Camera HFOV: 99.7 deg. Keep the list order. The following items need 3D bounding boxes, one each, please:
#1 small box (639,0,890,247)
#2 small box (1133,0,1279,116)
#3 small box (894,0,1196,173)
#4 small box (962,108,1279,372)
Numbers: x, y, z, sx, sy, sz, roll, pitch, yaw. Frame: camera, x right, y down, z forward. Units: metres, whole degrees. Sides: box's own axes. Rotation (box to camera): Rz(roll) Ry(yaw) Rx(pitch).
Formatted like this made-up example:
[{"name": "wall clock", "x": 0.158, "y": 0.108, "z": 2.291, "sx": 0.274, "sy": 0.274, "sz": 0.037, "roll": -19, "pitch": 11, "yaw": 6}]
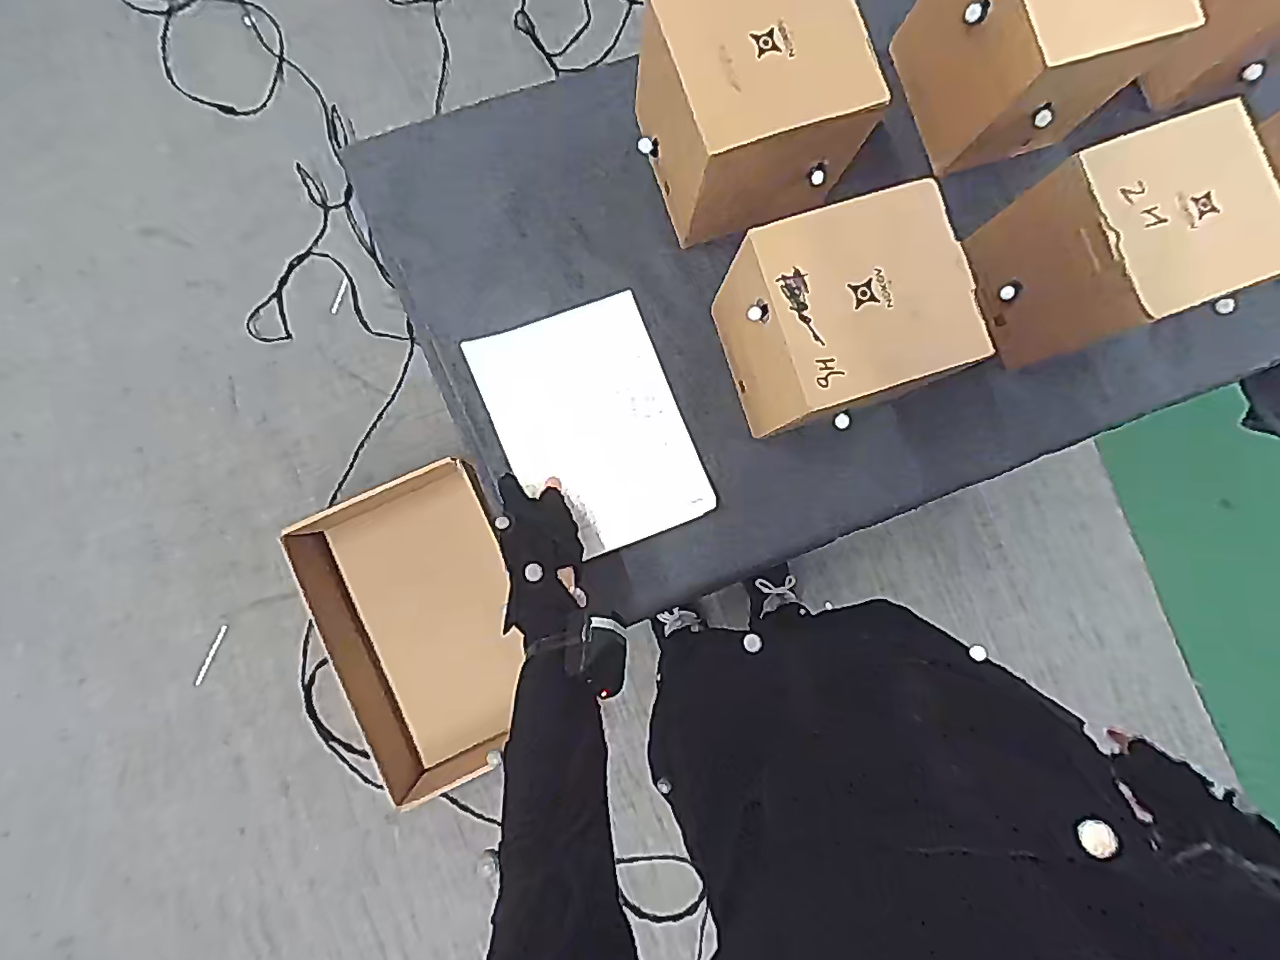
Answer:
[{"name": "small box", "x": 0.109, "y": -0.371, "z": 0.551, "sx": 0.179, "sy": 0.176, "sz": 0.168, "roll": -19, "pitch": 87, "yaw": -5}, {"name": "small box", "x": 0.683, "y": -0.558, "z": 0.600, "sx": 0.168, "sy": 0.176, "sz": 0.179, "roll": -18, "pitch": 88, "yaw": -4}, {"name": "small box", "x": 0.410, "y": -0.464, "z": 0.579, "sx": 0.168, "sy": 0.176, "sz": 0.179, "roll": -18, "pitch": 87, "yaw": -4}, {"name": "small box", "x": 0.488, "y": -0.232, "z": 0.565, "sx": 0.179, "sy": 0.176, "sz": 0.168, "roll": -20, "pitch": 87, "yaw": -4}]
